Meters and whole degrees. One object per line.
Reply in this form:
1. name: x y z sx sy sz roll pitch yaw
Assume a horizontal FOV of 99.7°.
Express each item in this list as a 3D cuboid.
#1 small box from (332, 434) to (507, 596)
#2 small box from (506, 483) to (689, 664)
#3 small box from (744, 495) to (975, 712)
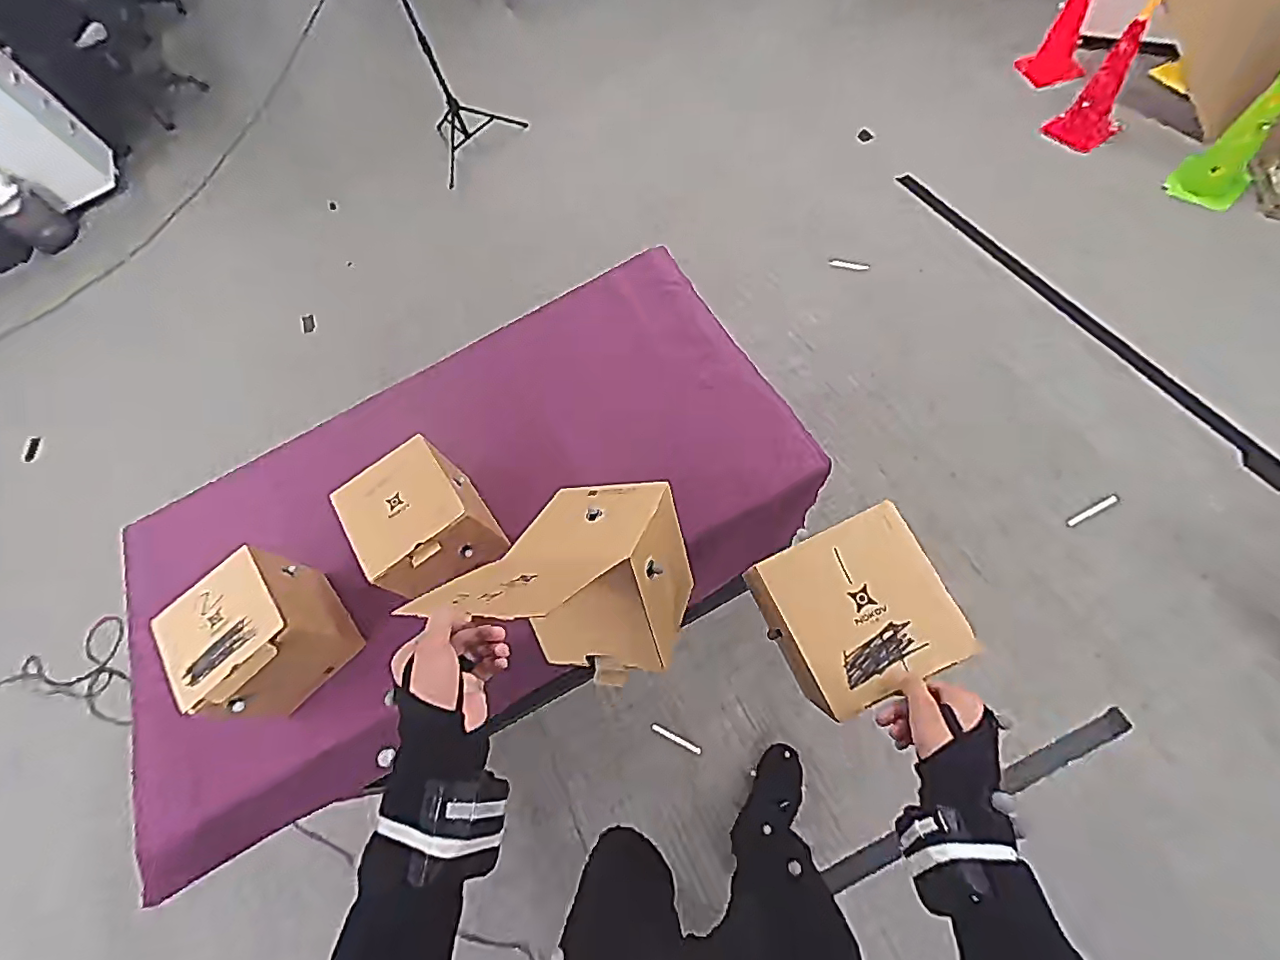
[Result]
1. small box: -0.341 0.066 0.862 0.168 0.176 0.179 -36 64 -7
2. small box: -0.043 0.113 0.711 0.168 0.179 0.176 -3 29 22
3. small box: 0.237 0.141 0.636 0.168 0.176 0.179 -26 74 -1
